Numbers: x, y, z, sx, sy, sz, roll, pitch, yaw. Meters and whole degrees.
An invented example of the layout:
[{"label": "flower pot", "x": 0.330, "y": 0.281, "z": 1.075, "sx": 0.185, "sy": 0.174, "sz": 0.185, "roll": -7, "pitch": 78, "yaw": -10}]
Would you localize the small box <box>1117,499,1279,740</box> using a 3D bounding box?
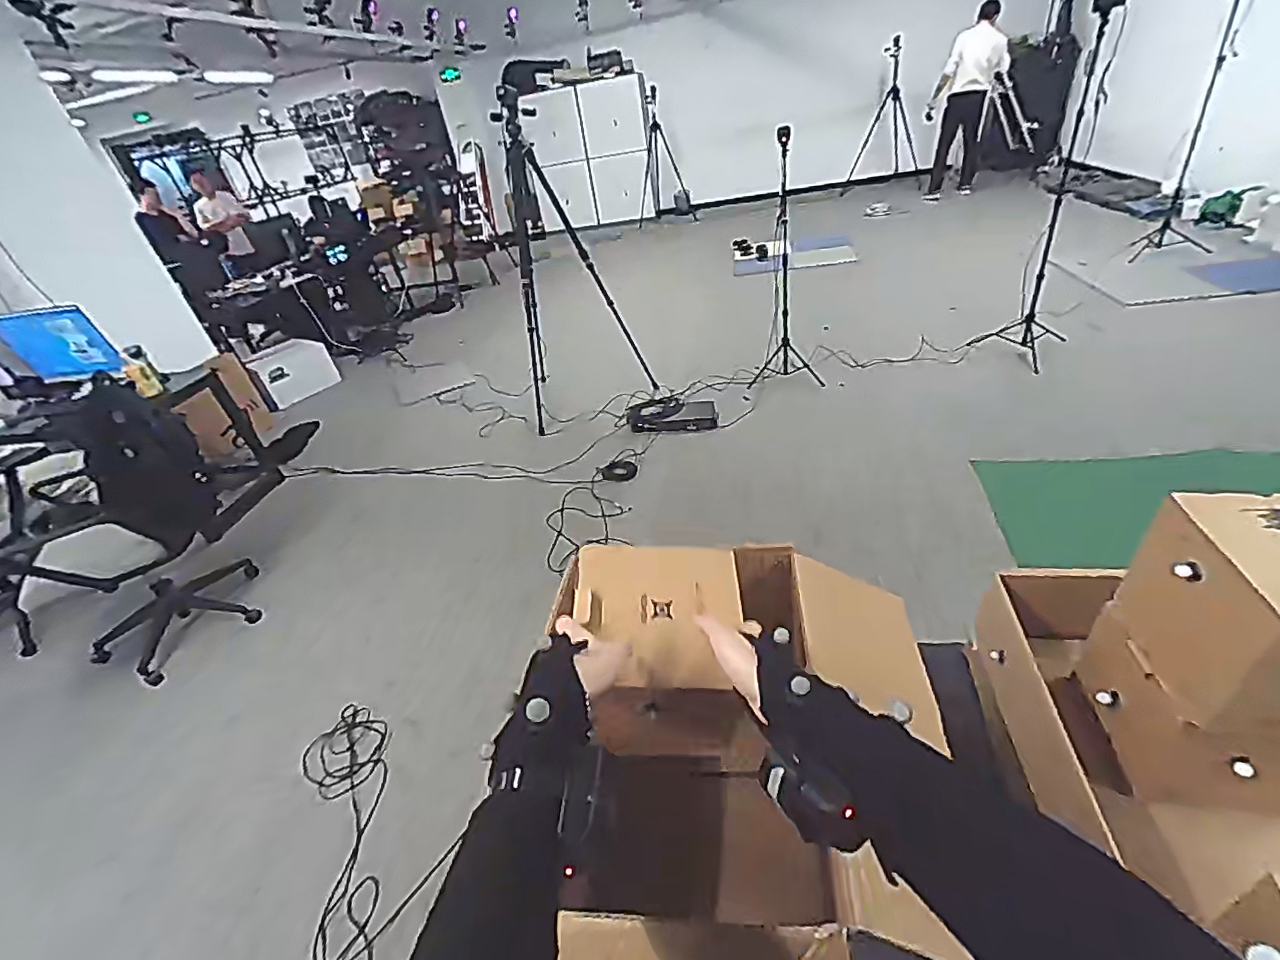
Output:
[{"label": "small box", "x": 0.635, "y": 0.137, "z": 0.542, "sx": 0.168, "sy": 0.176, "sz": 0.179, "roll": -1, "pitch": 37, "yaw": 14}]
